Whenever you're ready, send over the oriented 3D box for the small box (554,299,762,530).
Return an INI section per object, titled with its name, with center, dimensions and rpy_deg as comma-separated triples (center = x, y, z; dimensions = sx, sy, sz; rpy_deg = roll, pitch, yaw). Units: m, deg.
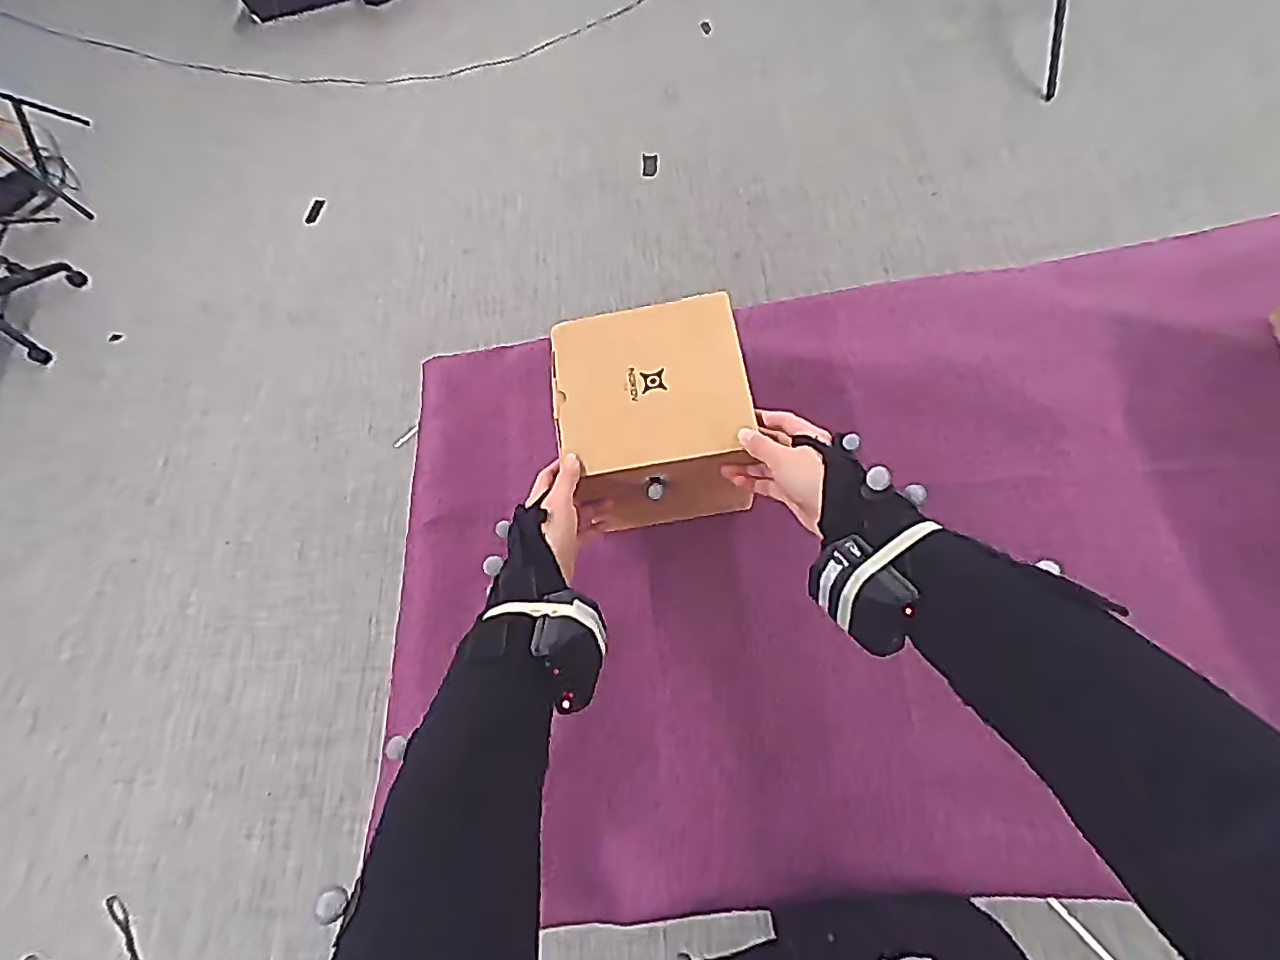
[small box]
center = 0.020, -0.056, 0.564
dimensions = 0.179, 0.176, 0.168
rpy_deg = -9, 67, 6
